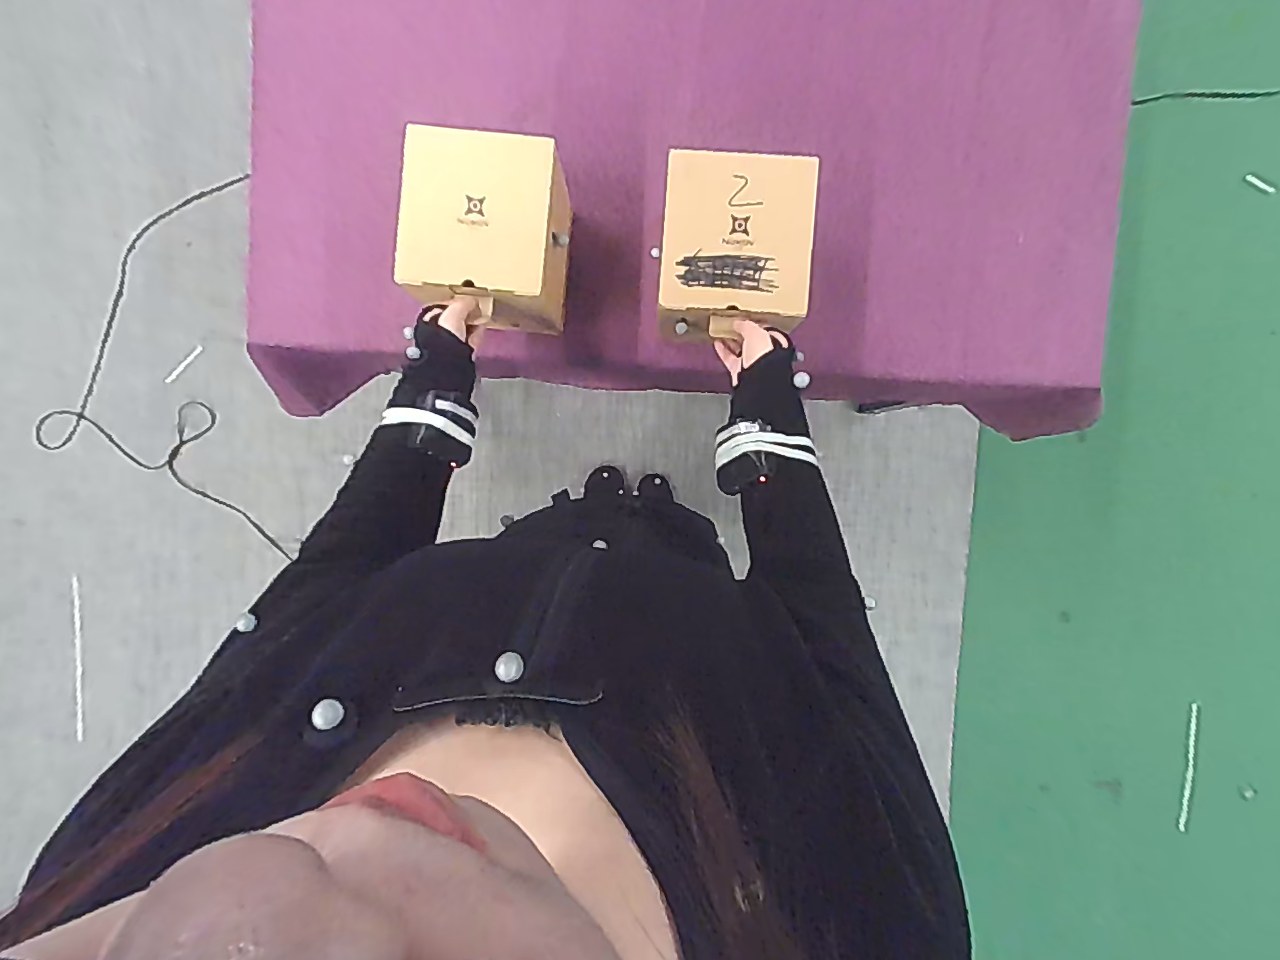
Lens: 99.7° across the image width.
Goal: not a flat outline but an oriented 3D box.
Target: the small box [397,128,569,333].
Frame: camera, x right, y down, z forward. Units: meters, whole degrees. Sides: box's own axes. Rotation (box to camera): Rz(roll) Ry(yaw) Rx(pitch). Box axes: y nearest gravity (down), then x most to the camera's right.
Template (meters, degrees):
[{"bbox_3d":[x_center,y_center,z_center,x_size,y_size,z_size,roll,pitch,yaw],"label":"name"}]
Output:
[{"bbox_3d":[-0.186,-0.303,0.691,0.168,0.176,0.179,6,91,-1],"label":"small box"}]
